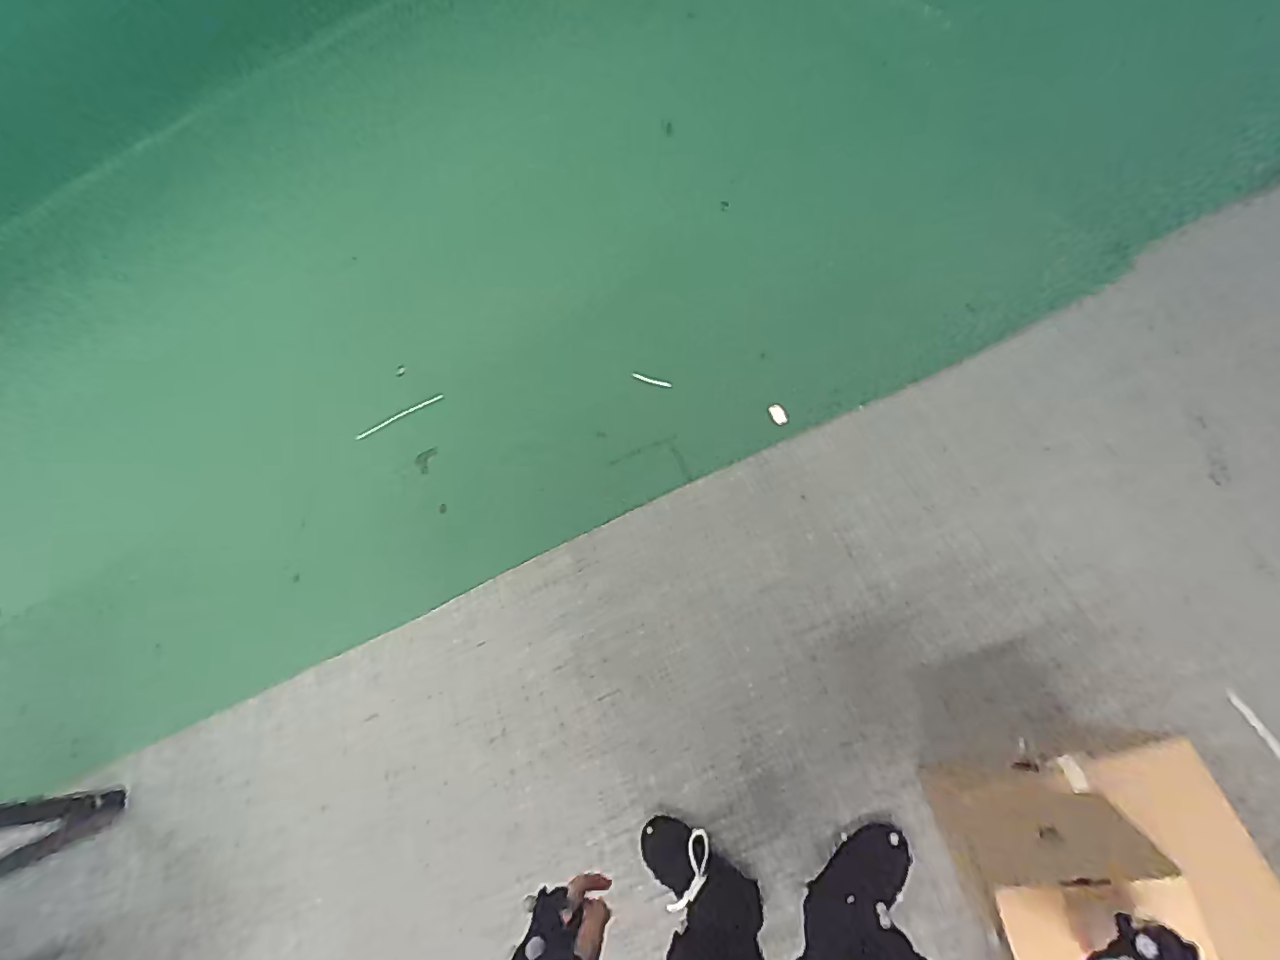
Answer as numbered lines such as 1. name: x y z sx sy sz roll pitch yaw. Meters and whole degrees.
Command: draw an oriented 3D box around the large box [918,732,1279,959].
1. large box: 0.687 0.634 0.803 0.320 0.320 0.408 -20 65 7
